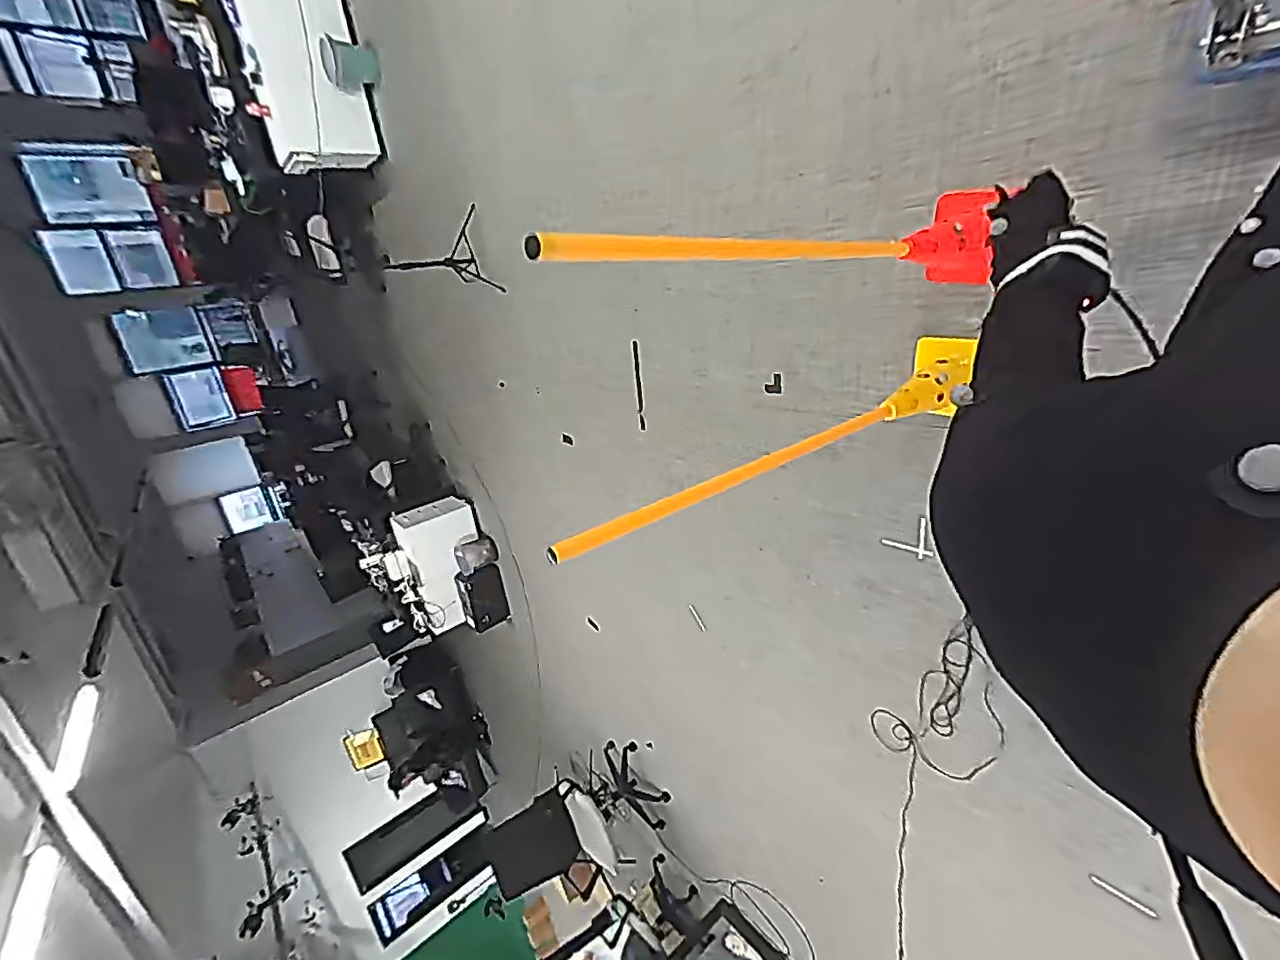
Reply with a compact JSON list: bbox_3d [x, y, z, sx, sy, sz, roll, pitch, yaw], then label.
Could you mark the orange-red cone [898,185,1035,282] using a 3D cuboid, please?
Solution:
[{"bbox_3d":[0.648,-0.515,1.147,0.198,0.360,0.199,26,127,43],"label":"orange-red cone"}]
